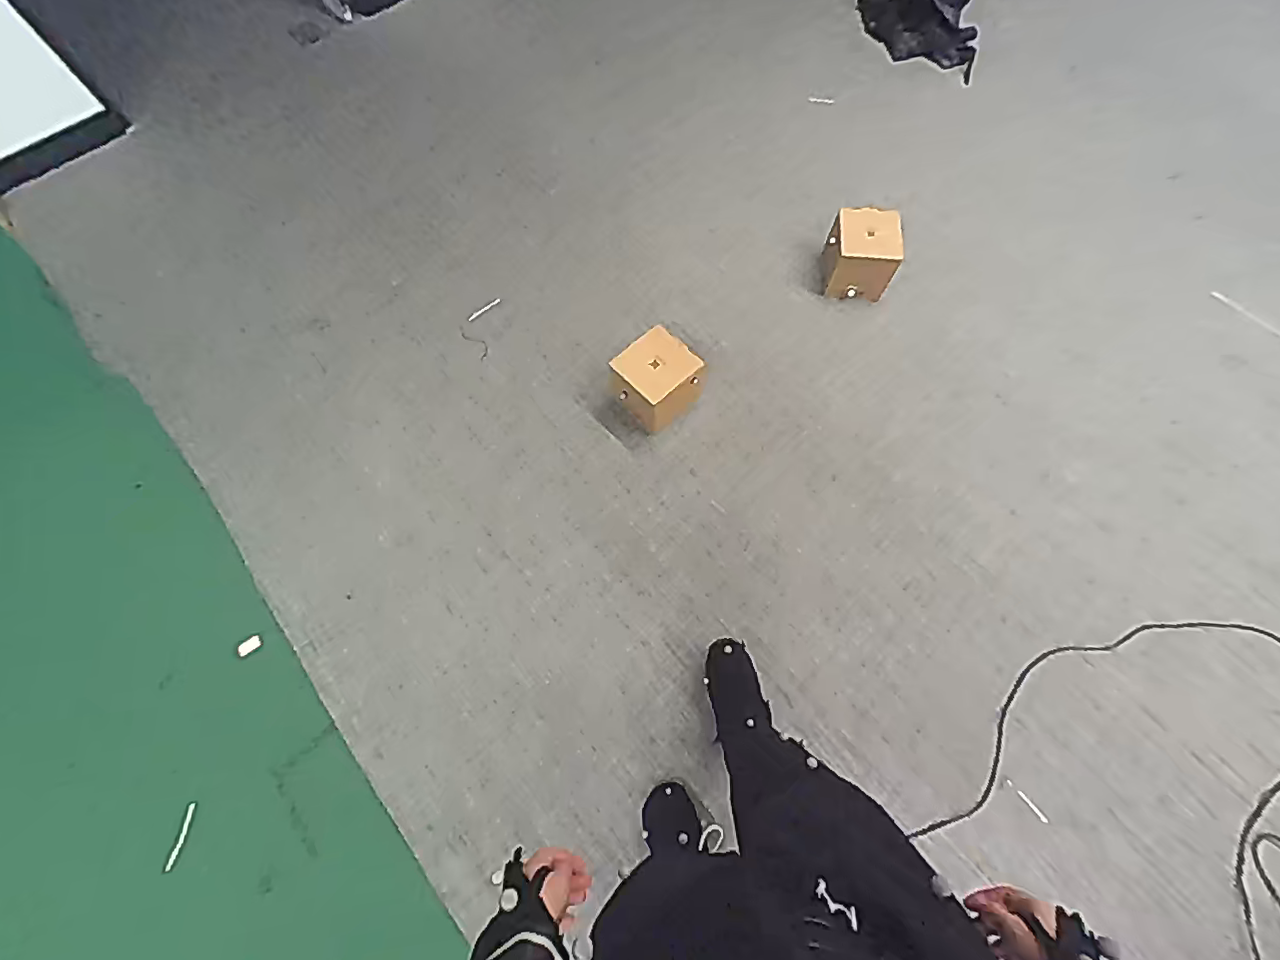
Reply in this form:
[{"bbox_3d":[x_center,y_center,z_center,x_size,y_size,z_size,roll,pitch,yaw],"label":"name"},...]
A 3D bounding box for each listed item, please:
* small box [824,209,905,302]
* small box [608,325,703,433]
[{"bbox_3d":[0.627,-0.633,1.532,0.168,0.176,0.179,5,69,4],"label":"small box"},{"bbox_3d":[0.040,-0.250,1.382,0.179,0.176,0.168,-41,74,-15],"label":"small box"}]
